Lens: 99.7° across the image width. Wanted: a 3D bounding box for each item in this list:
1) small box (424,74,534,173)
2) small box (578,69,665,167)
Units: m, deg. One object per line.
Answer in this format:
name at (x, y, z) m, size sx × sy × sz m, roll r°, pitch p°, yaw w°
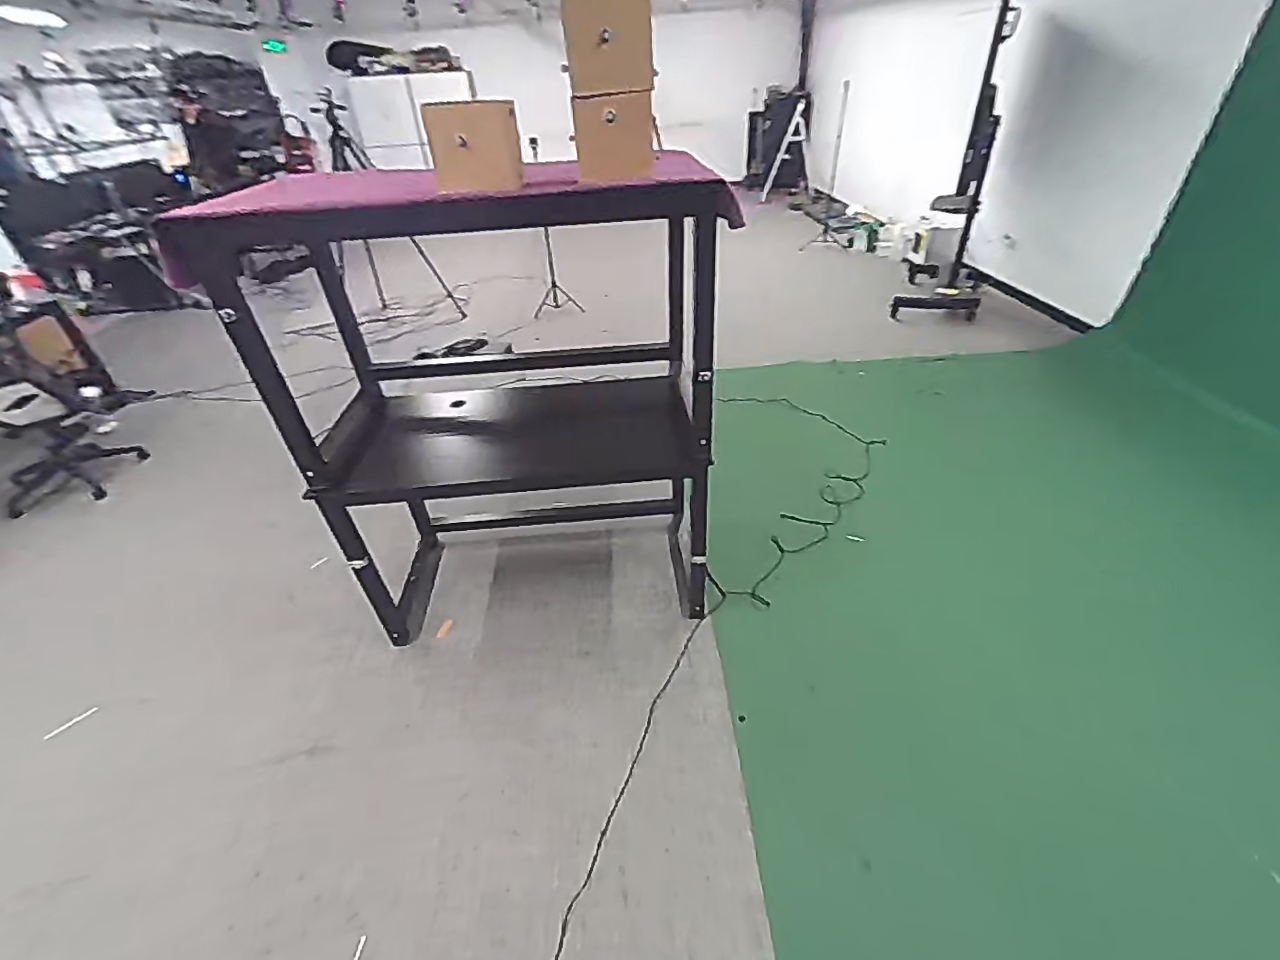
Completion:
small box at (-0.342, -0.781, 1.187) m, size 0.179 × 0.176 × 0.168 m, roll -2°, pitch 37°, yaw 1°
small box at (-0.034, -0.804, 1.204) m, size 0.179 × 0.176 × 0.168 m, roll -1°, pitch 37°, yaw 2°
